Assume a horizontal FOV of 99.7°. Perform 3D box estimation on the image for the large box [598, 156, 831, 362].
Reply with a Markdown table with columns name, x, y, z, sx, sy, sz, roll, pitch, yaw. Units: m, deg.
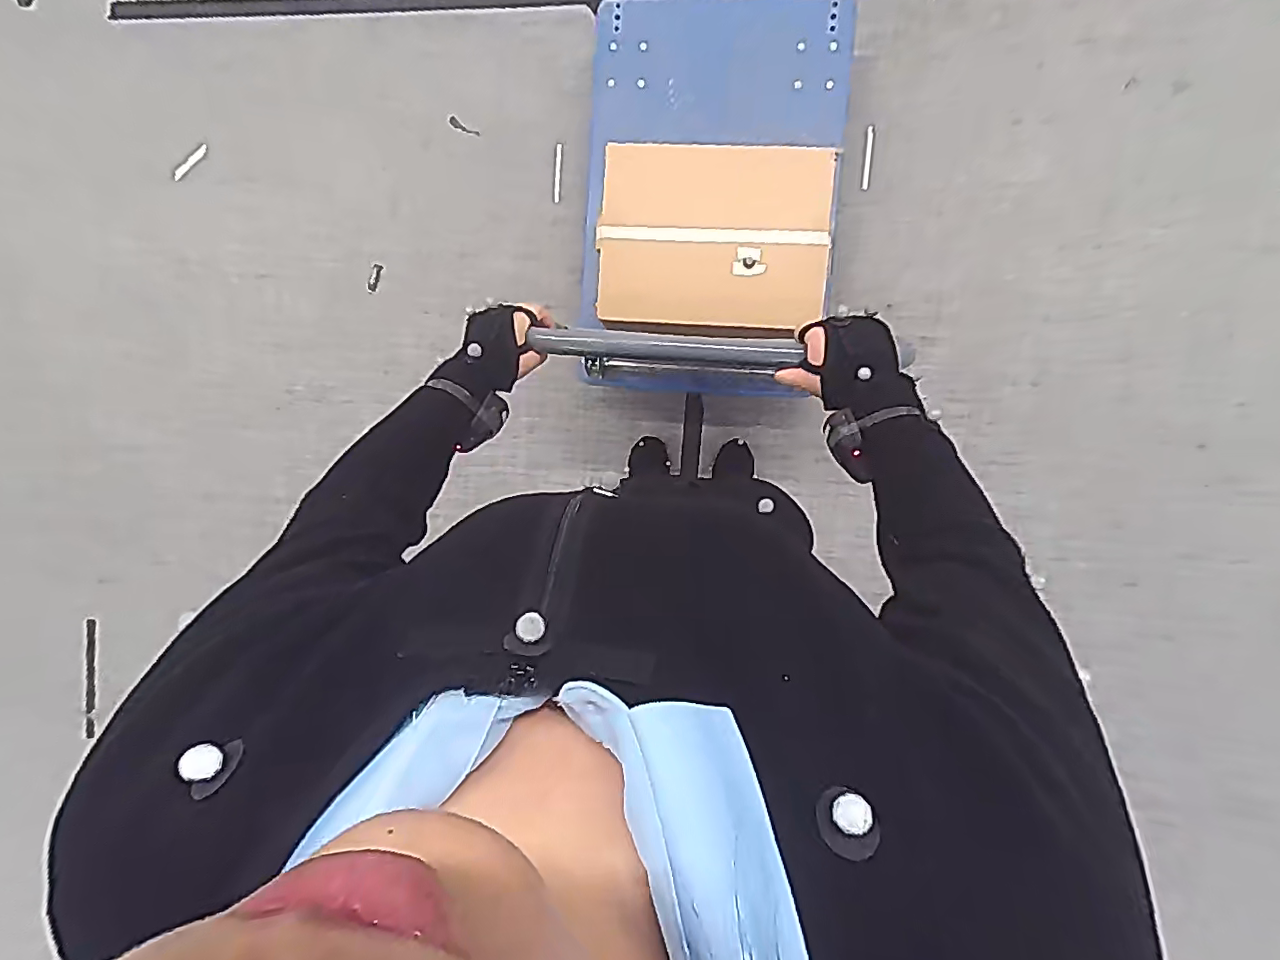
| name | x | y | z | sx | sy | sz | roll | pitch | yaw |
| --- | --- | --- | --- | --- | --- | --- | --- | --- | --- |
| large box | 0.137 | -0.427 | 1.112 | 0.408 | 0.320 | 0.320 | 4 | 95 | 4 |
